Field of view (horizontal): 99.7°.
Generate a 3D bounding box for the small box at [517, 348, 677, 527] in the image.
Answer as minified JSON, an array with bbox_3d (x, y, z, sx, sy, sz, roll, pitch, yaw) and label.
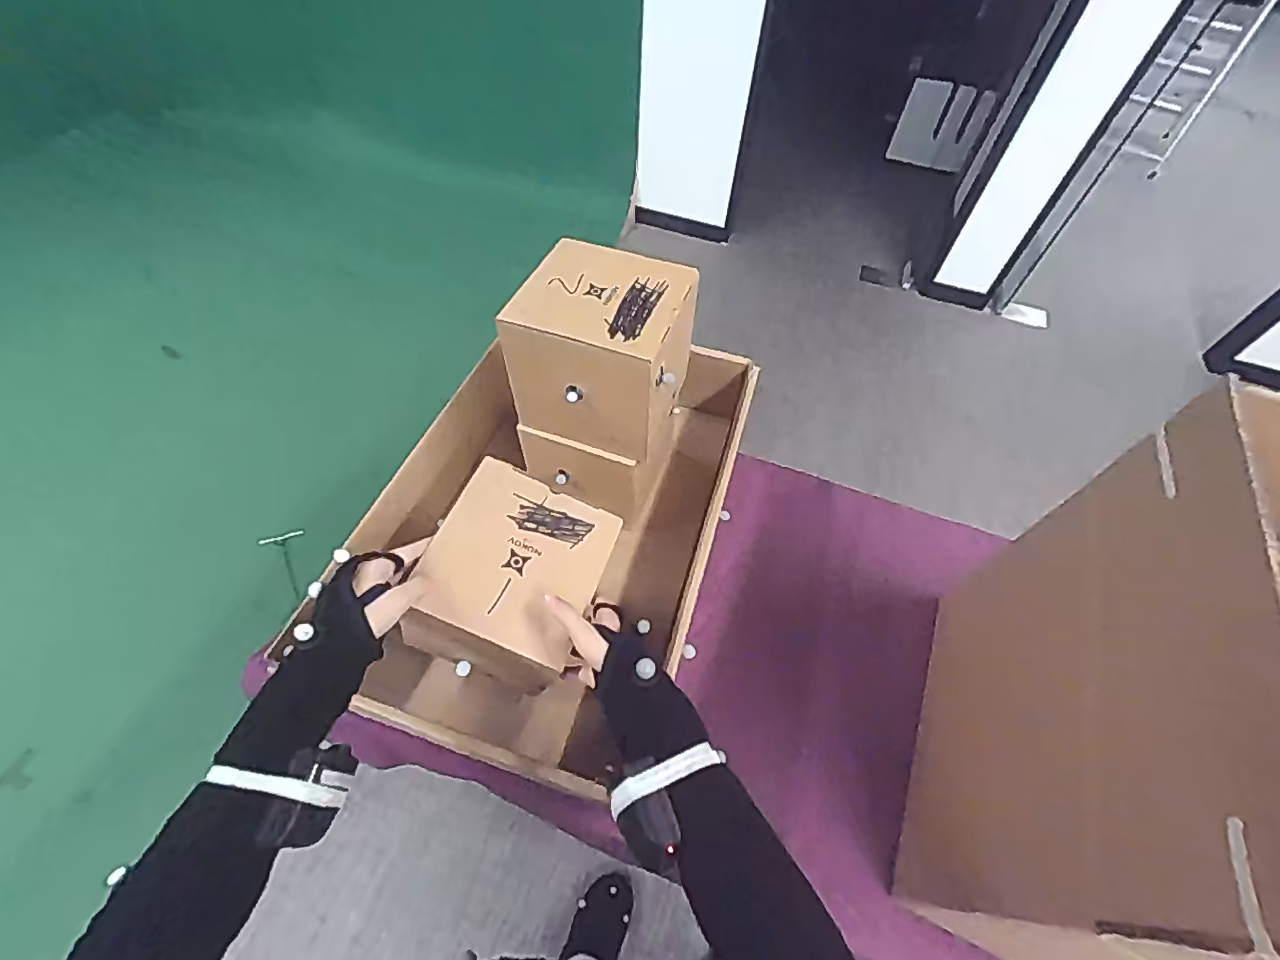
[{"bbox_3d":[-0.054,-0.057,0.790,0.168,0.176,0.179,18,56,11],"label":"small box"}]
